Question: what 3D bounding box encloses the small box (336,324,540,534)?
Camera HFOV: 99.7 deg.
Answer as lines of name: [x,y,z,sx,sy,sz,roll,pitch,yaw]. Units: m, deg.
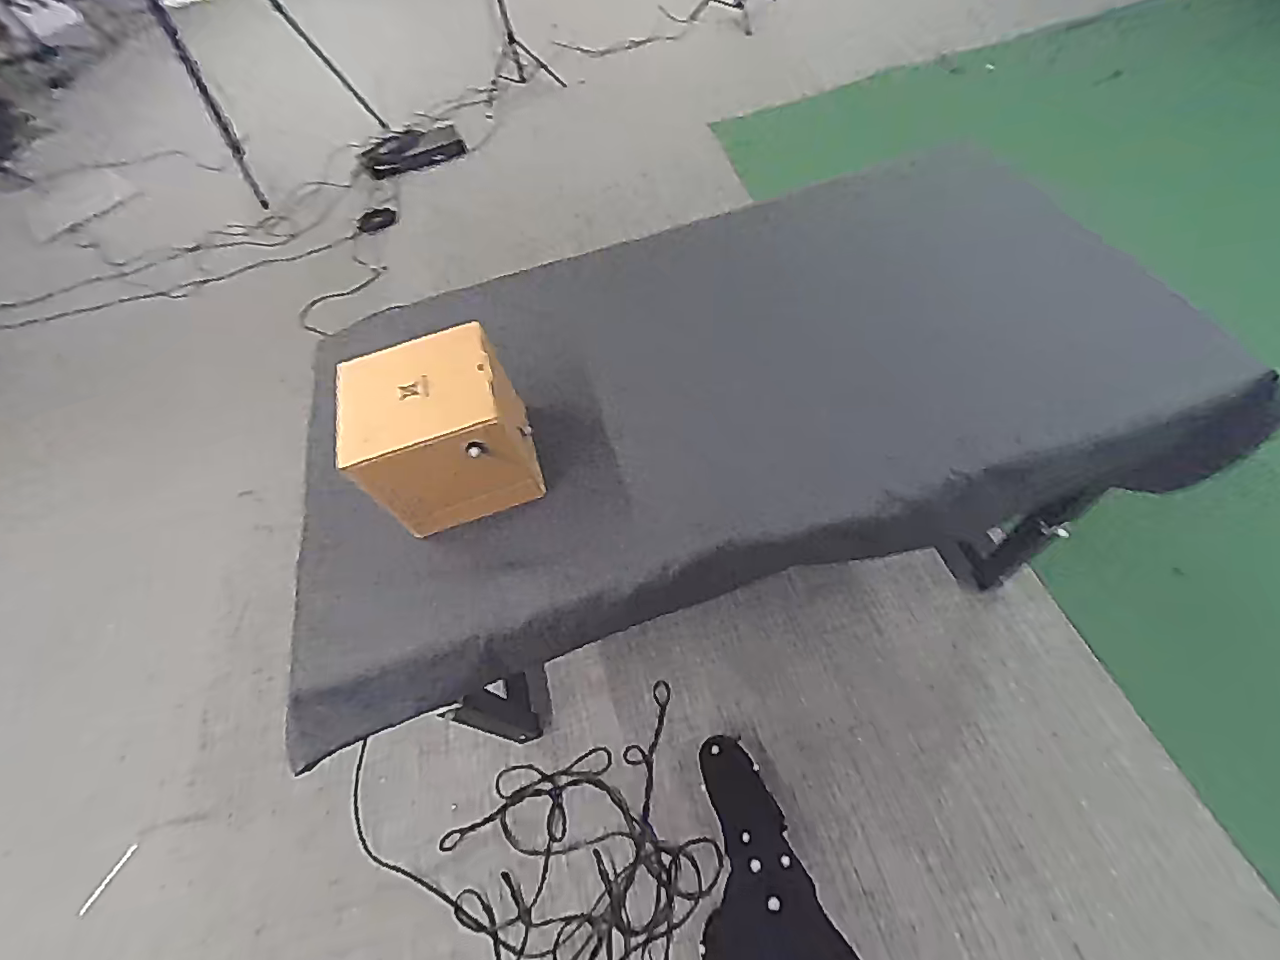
small box: [-0.243,-0.056,0.671,0.179,0.176,0.168,-19,57,-3]
